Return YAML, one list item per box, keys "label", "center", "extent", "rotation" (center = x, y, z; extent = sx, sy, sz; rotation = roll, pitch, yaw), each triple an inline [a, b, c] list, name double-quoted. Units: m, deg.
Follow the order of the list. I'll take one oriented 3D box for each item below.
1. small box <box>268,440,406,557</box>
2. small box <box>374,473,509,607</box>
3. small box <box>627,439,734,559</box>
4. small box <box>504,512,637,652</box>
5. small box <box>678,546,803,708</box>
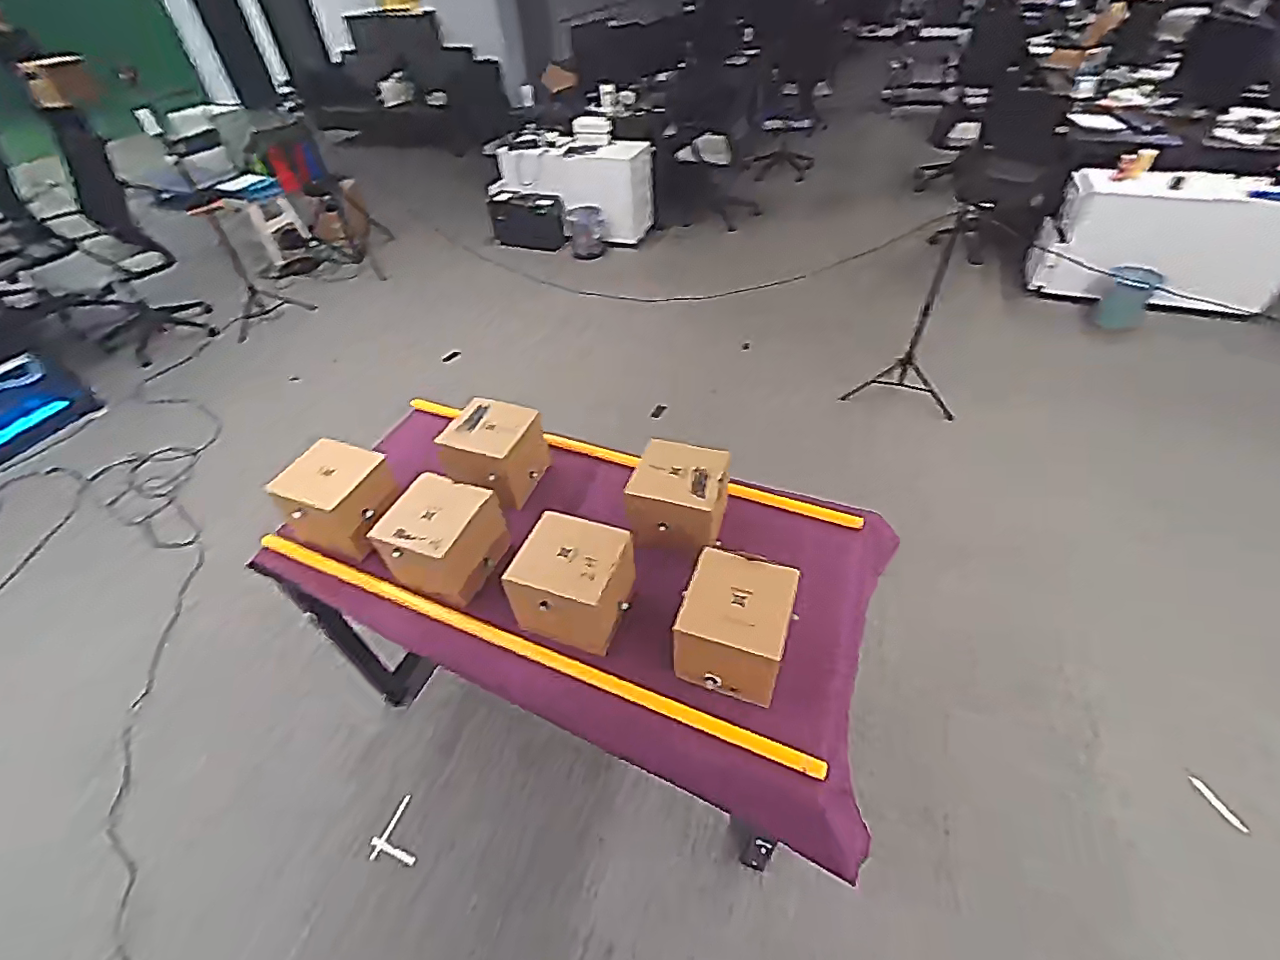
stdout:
- label: "small box"
  center: [-0.634, 0.044, 1.167]
  extent: [0.179, 0.176, 0.168]
  rotation: [14, 48, 17]
- label: "small box"
  center: [-0.380, 0.119, 1.075]
  extent: [0.168, 0.176, 0.179]
  rotation: [13, 47, 19]
- label: "small box"
  center: [0.087, 0.042, 1.118]
  extent: [0.179, 0.176, 0.168]
  rotation: [12, 48, 16]
- label: "small box"
  center: [-0.116, 0.188, 0.987]
  extent: [0.179, 0.176, 0.168]
  rotation: [13, 47, 17]
- label: "small box"
  center: [0.166, 0.245, 0.909]
  extent: [0.168, 0.176, 0.179]
  rotation: [13, 46, 18]
